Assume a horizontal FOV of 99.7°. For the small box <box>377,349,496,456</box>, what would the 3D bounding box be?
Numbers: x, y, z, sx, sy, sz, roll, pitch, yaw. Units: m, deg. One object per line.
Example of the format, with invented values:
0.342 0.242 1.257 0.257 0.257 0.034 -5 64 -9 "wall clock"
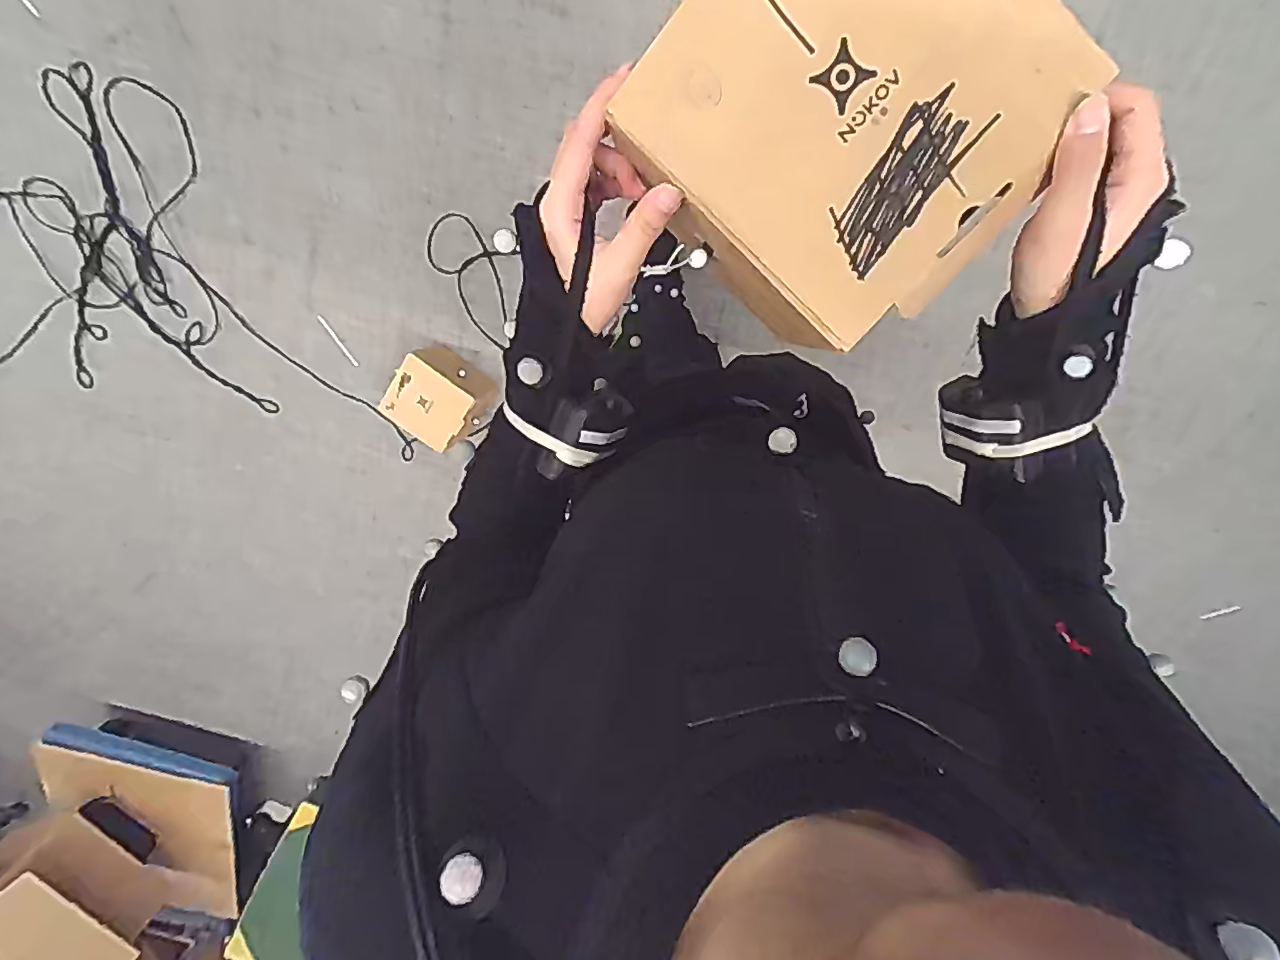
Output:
-0.469 -0.191 1.277 0.179 0.176 0.168 36 109 -9 "small box"
